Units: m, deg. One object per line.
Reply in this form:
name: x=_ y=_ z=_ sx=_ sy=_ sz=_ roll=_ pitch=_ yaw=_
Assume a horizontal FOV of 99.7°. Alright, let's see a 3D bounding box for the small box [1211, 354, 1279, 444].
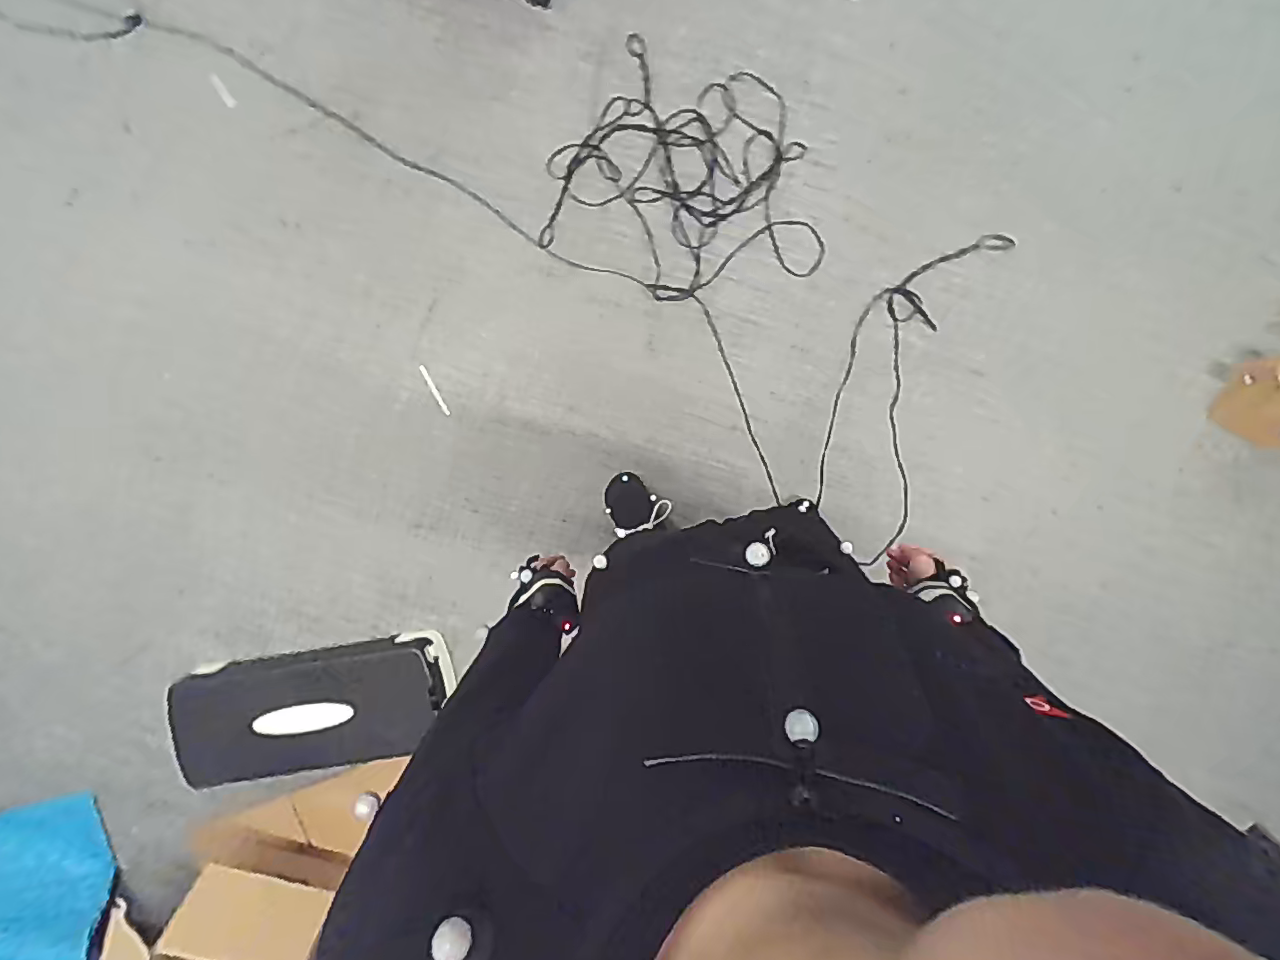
small box: x=1.530 y=-0.190 z=1.263 sx=0.179 sy=0.176 sz=0.168 roll=28 pitch=93 yaw=-1
